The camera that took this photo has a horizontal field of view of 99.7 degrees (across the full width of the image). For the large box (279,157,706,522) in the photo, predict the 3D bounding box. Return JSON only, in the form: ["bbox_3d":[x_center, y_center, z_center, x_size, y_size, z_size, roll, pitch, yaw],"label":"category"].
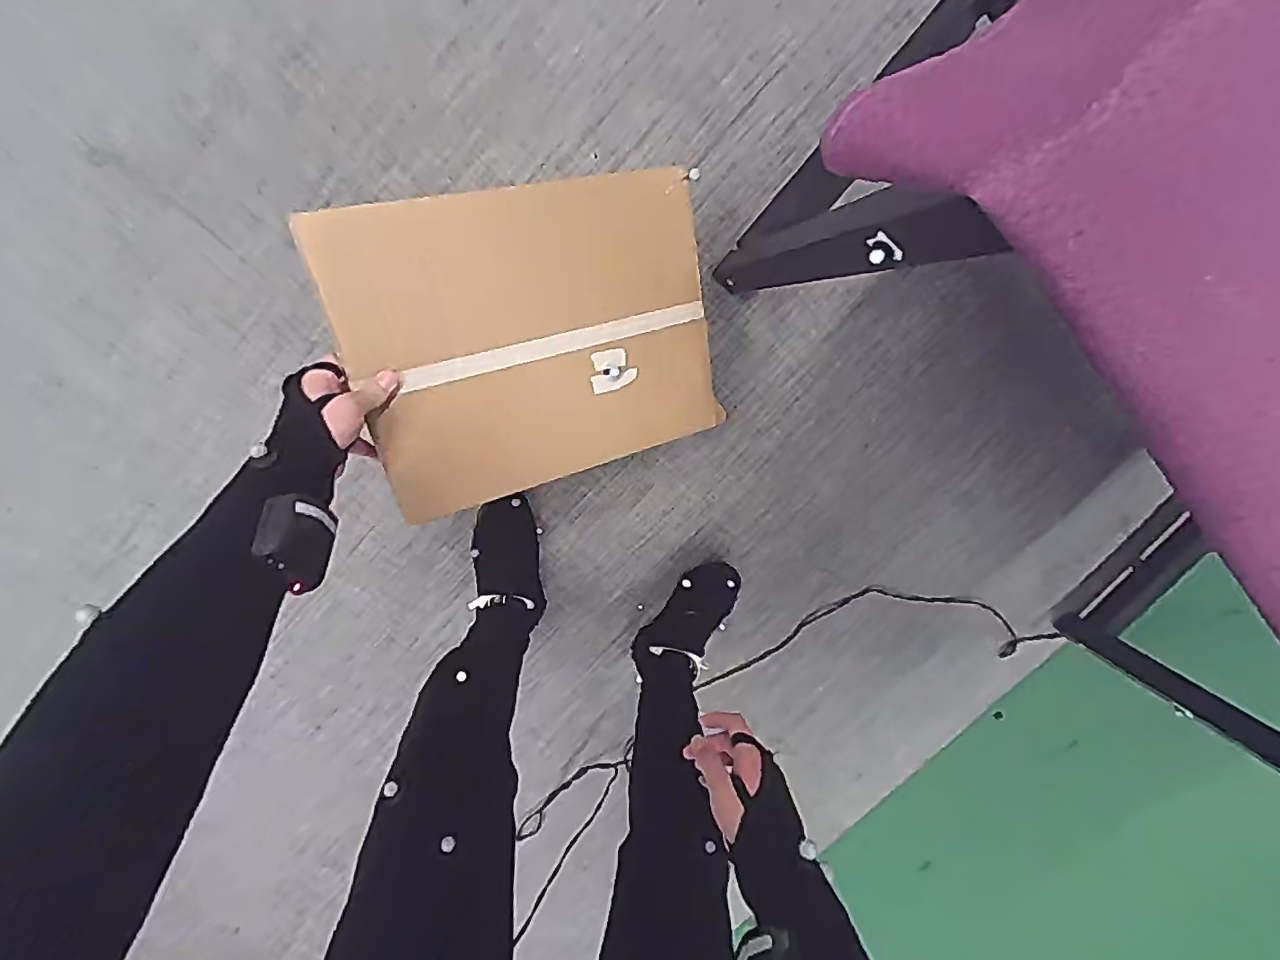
[{"bbox_3d":[-0.178,-0.197,0.710,0.408,0.320,0.320,-21,117,-22],"label":"large box"}]
